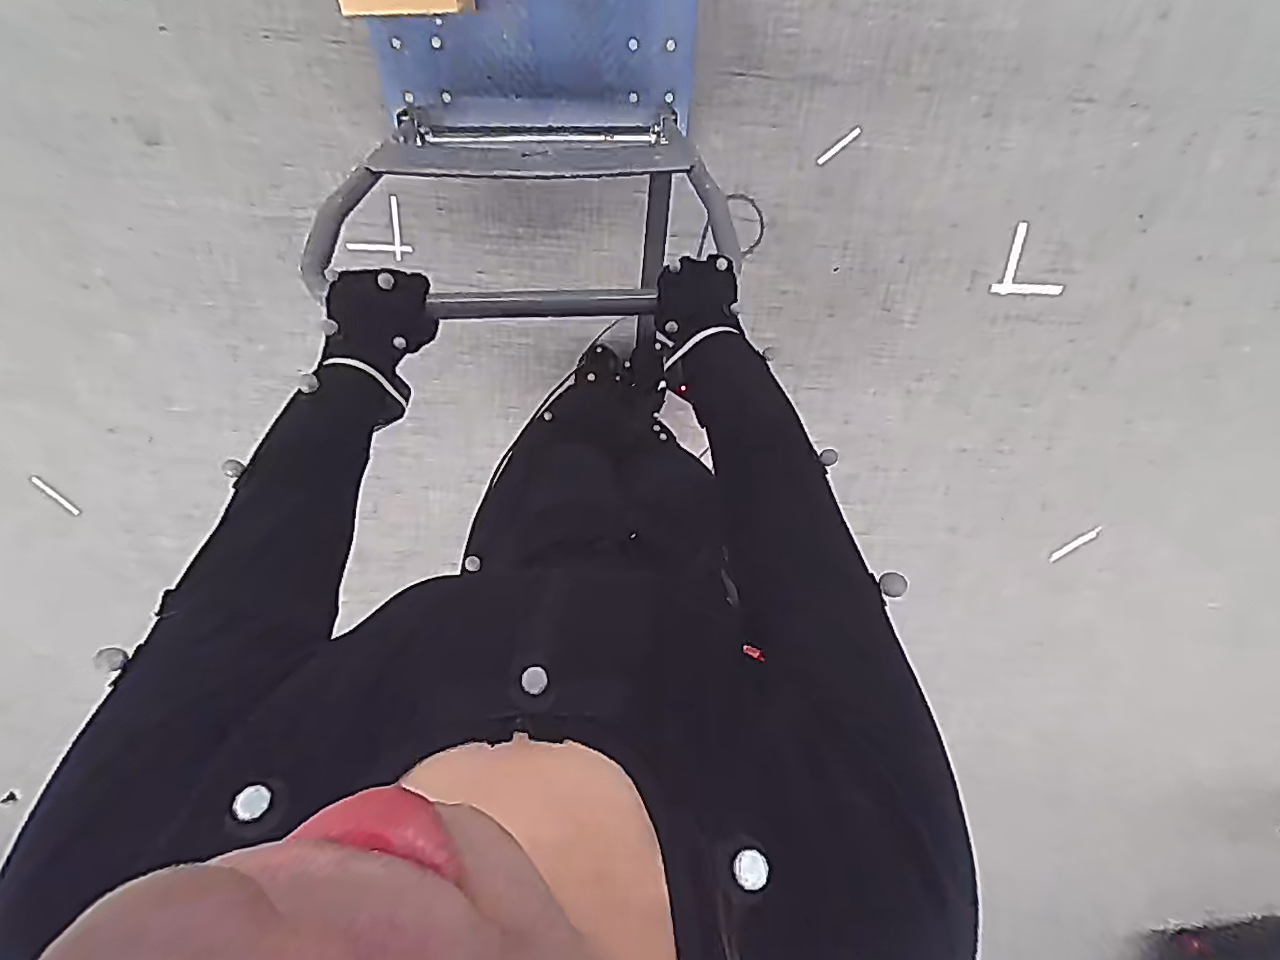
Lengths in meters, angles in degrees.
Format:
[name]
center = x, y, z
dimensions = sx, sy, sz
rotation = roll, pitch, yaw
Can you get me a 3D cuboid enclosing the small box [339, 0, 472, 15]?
[small box]
center = -0.366, -0.816, 0.817
dimensions = 0.179, 0.176, 0.168
rotation = -6, 131, -3
